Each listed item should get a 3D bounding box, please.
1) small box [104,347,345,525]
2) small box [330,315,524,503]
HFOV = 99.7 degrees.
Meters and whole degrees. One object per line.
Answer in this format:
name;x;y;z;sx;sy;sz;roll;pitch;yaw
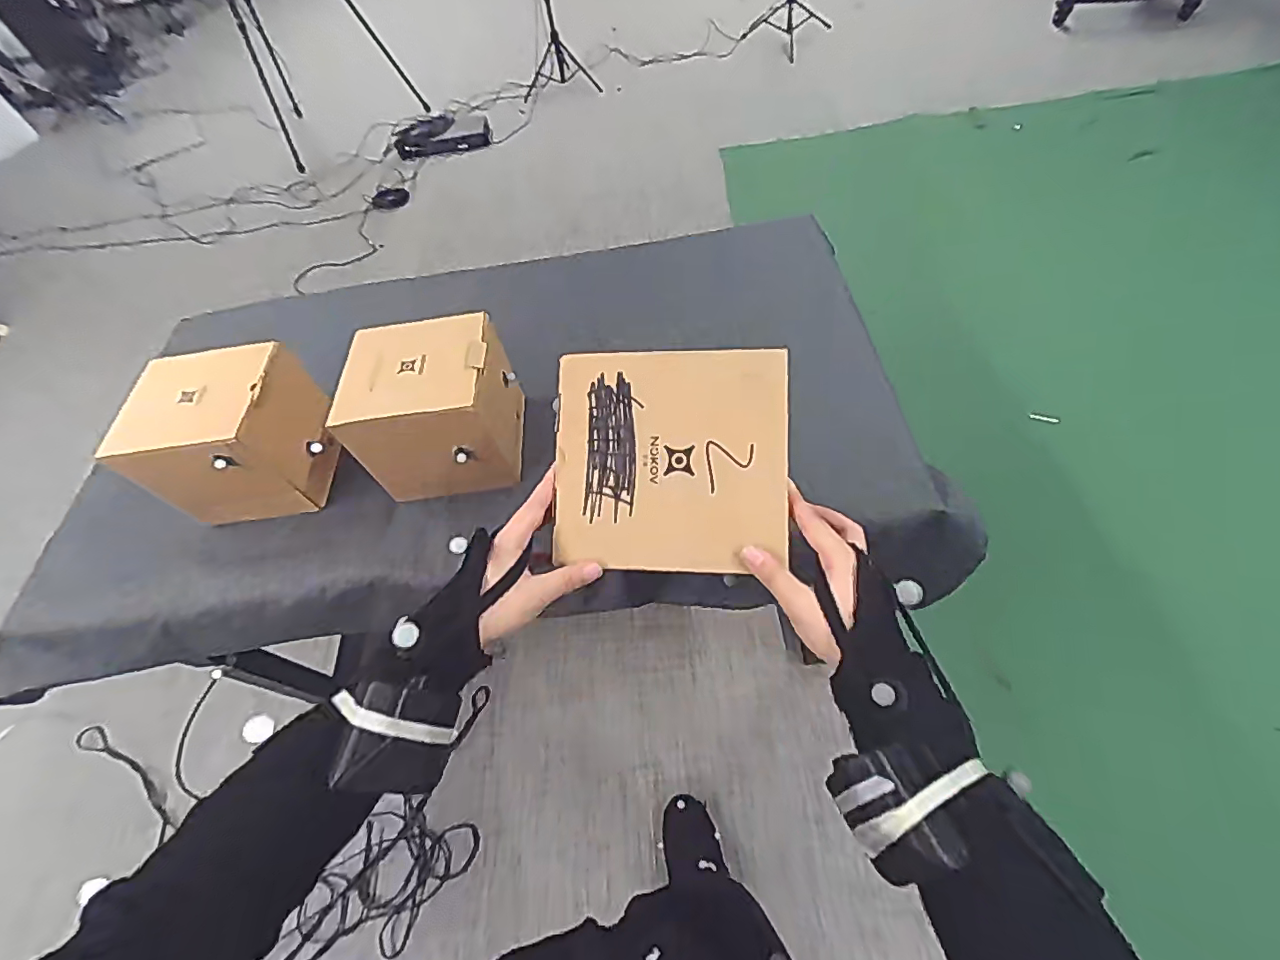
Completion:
small box;-0.542;-0.053;0.740;0.179;0.176;0.168;-8;55;2
small box;-0.264;-0.088;0.720;0.179;0.176;0.168;-9;54;5
